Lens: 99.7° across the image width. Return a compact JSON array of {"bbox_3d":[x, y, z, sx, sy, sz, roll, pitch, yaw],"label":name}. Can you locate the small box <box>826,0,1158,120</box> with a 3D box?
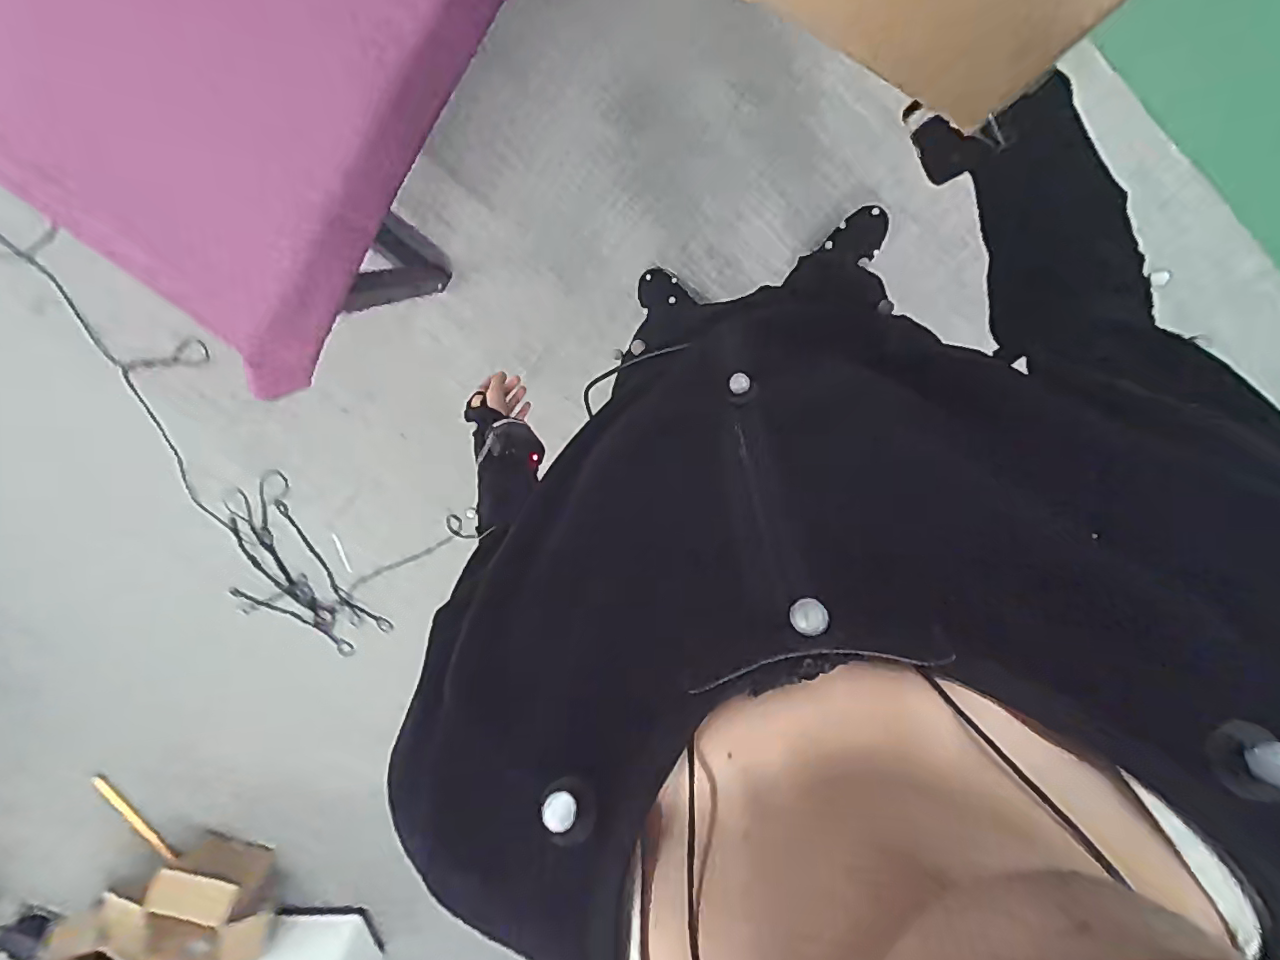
[{"bbox_3d":[0.139,-0.283,0.180,0.176,0.179,0.168,13,72,-21],"label":"small box"}]
